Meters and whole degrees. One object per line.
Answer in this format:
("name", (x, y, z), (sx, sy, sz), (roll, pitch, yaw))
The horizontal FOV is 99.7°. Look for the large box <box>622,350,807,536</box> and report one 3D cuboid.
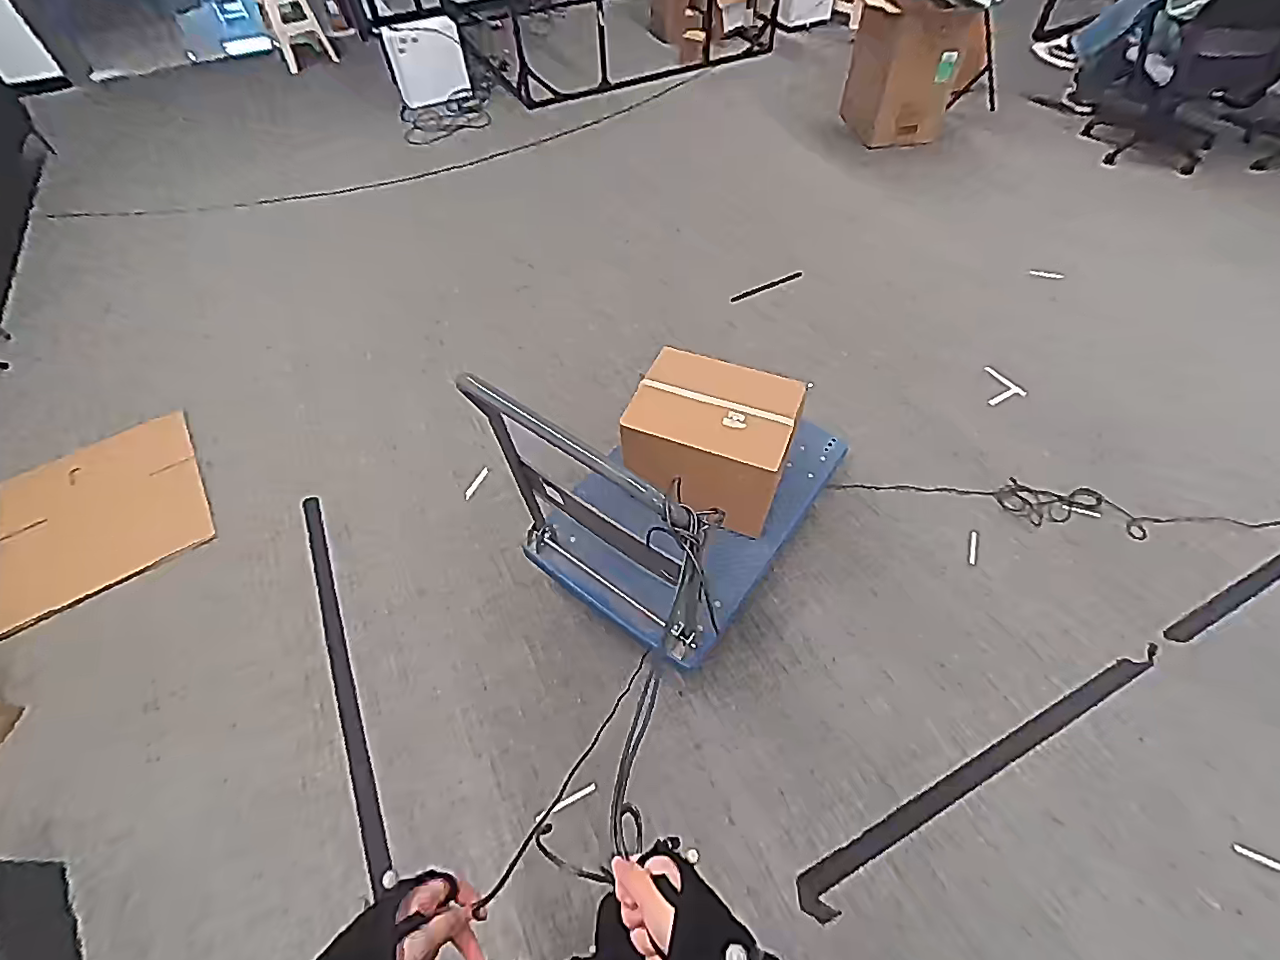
("large box", (0.194, -0.102, 1.484), (0.408, 0.320, 0.320), (19, 57, 15))
